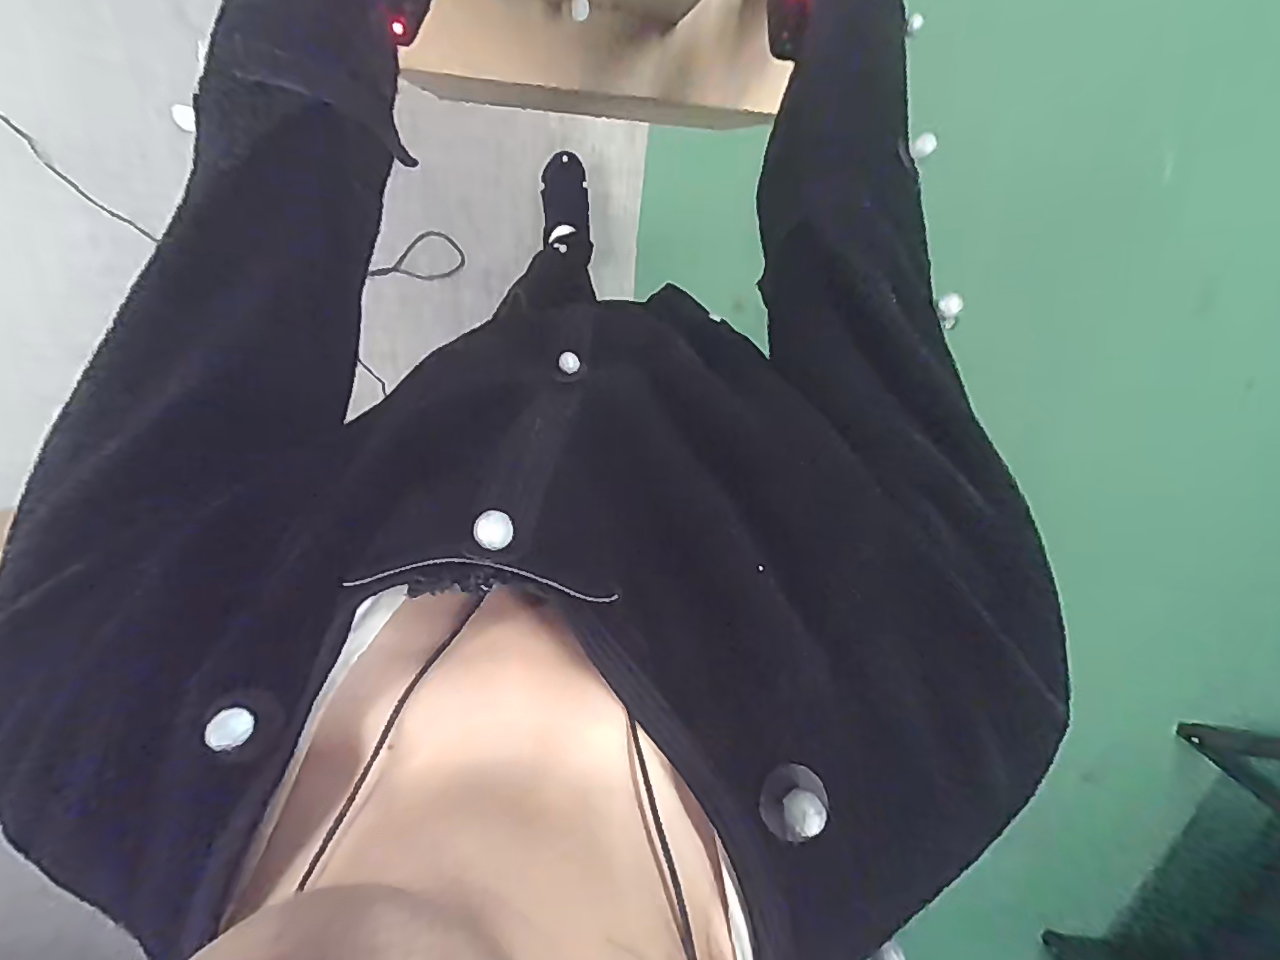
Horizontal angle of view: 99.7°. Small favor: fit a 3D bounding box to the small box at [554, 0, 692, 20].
[{"bbox_3d":[-0.028,-0.421,0.331,0.168,0.176,0.179,2,121,-9],"label":"small box"}]
